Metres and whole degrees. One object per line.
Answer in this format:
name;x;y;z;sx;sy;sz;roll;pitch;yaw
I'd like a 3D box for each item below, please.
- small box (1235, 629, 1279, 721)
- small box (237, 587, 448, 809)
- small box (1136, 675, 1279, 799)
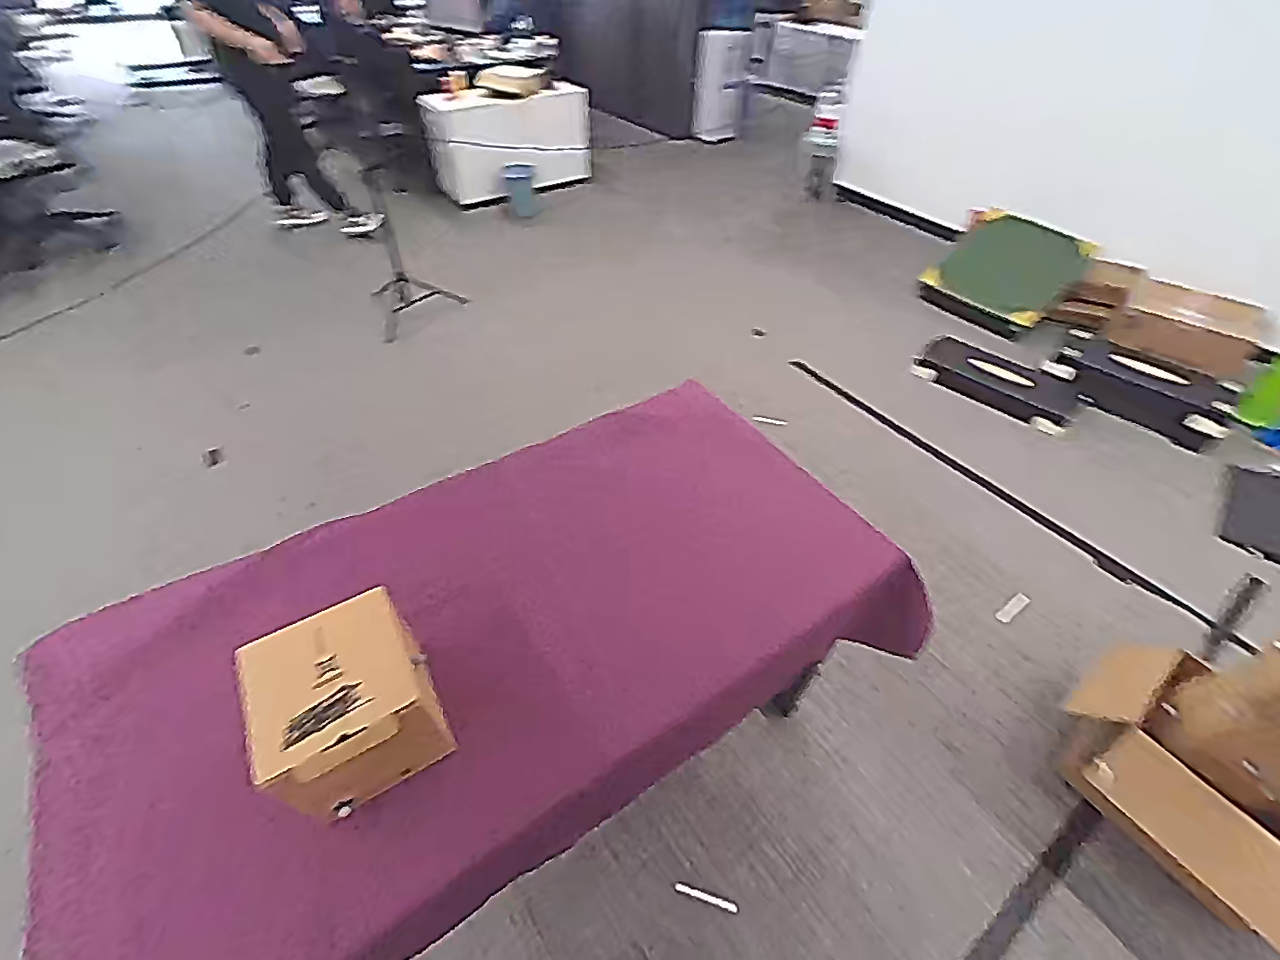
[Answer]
small box;1.227;0.359;0.949;0.168;0.176;0.179;-36;61;-25
small box;-0.357;0.274;0.670;0.168;0.176;0.179;-24;51;-23
small box;1.256;0.573;1.198;0.179;0.176;0.168;28;55;18
